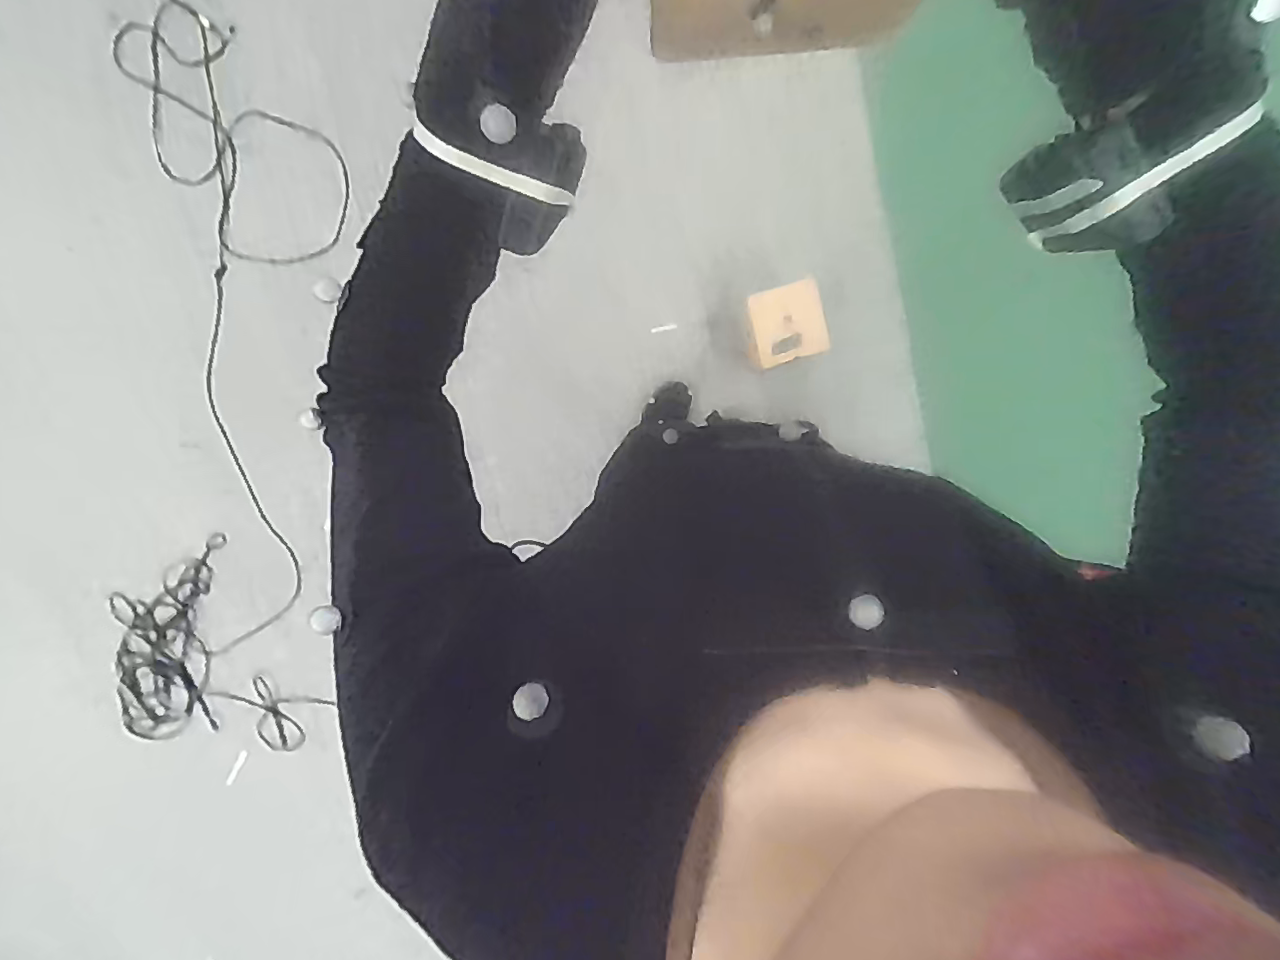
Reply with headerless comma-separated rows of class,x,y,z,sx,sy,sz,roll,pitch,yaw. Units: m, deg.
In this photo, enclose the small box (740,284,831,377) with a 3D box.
small box,0.352,-0.358,1.335,0.168,0.176,0.179,-14,95,5
